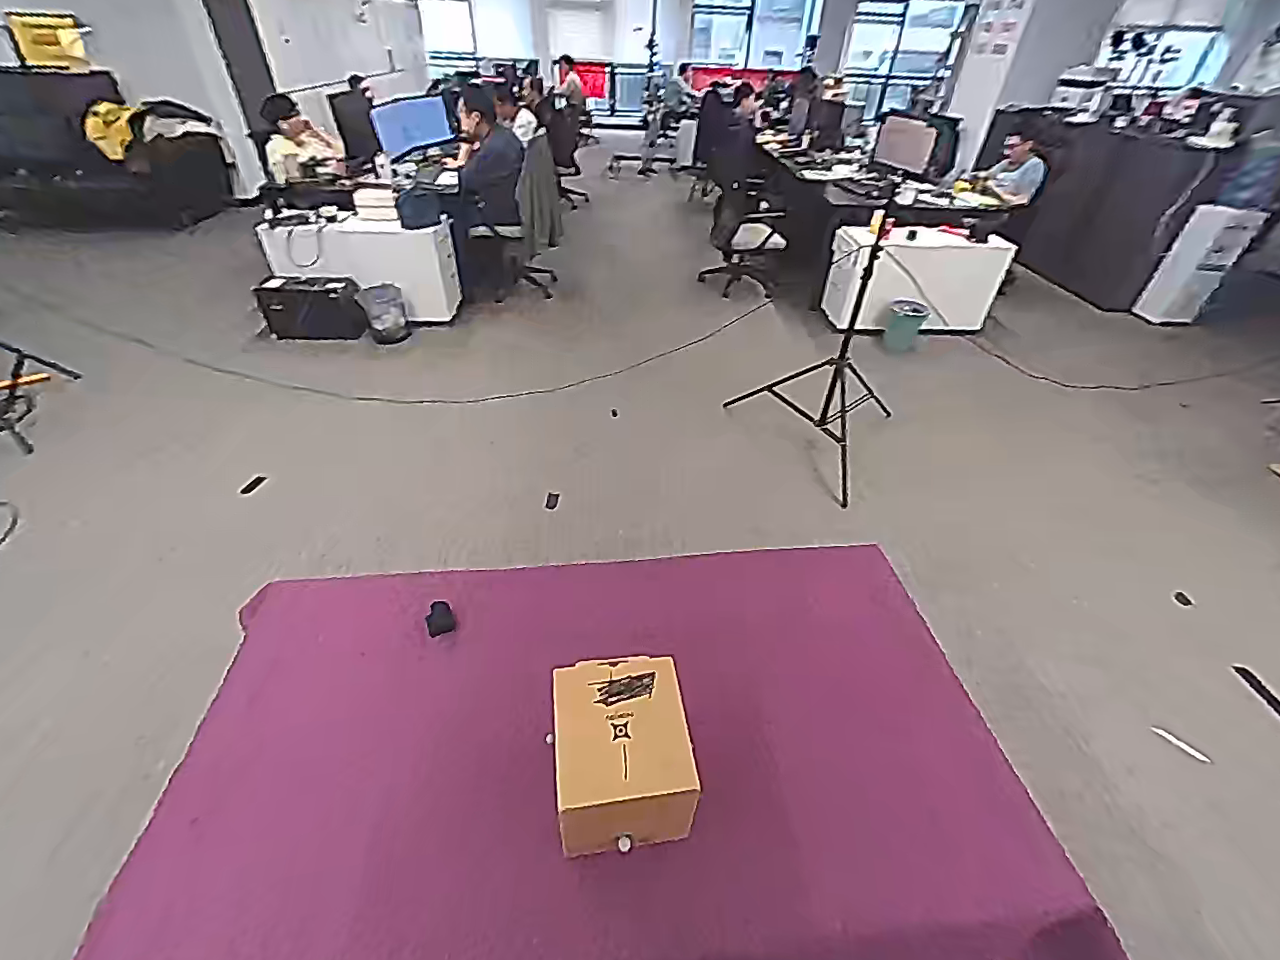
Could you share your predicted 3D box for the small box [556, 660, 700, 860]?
[{"bbox_3d":[-0.026,0.369,0.720,0.168,0.176,0.179,-4,40,-8],"label":"small box"}]
